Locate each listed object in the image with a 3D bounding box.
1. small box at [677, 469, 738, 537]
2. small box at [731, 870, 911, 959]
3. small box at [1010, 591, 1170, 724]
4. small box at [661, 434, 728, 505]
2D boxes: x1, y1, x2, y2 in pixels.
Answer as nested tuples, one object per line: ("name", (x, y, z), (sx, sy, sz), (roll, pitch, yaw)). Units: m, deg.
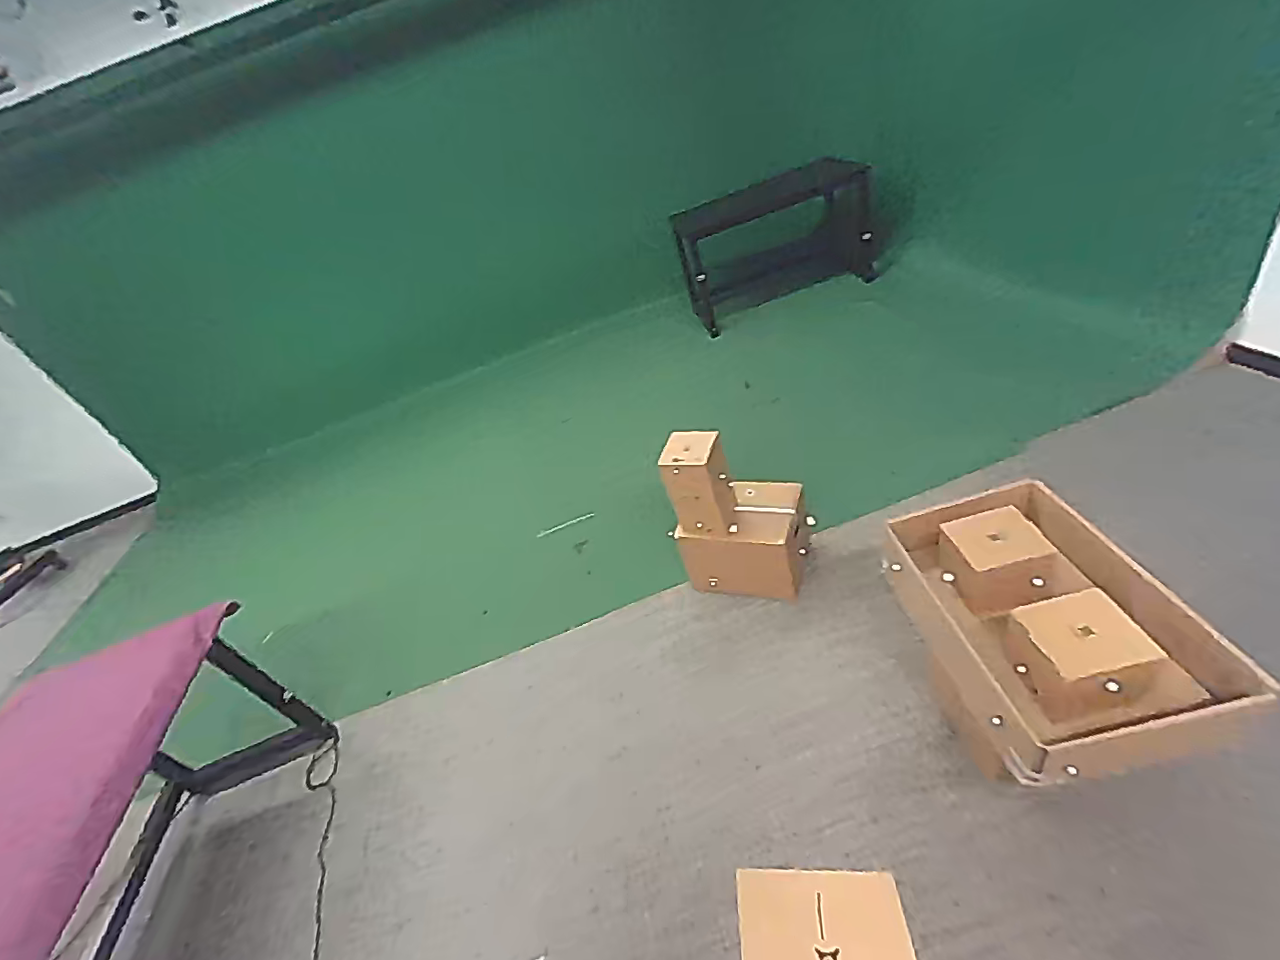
("small box", (0.242, 0.079, 1.923), (0.168, 0.176, 0.179), (1, 42, 28))
("small box", (0.185, 0.532, 0.546), (0.168, 0.176, 0.179), (-5, 31, 8))
("small box", (0.874, 0.354, 1.074), (0.179, 0.176, 0.168), (-18, 36, 7))
("small box", (0.191, -0.038, 1.819), (0.168, 0.176, 0.179), (1, 41, 27))
